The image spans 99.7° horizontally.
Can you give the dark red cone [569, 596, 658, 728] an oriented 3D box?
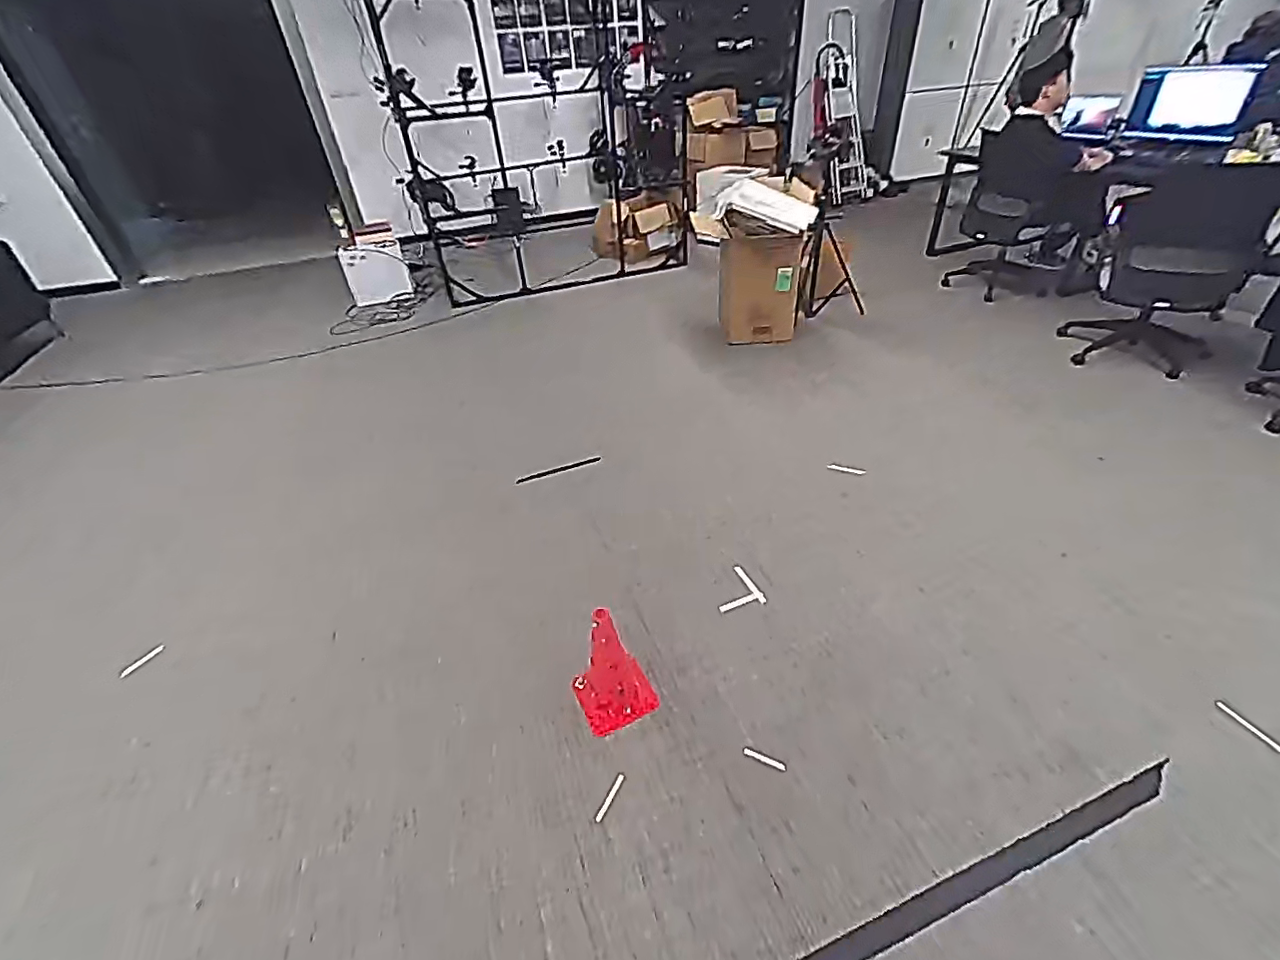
[{"bbox_3d":[-0.086,0.446,1.410,0.202,0.394,0.201,-21,41,-20],"label":"dark red cone"}]
